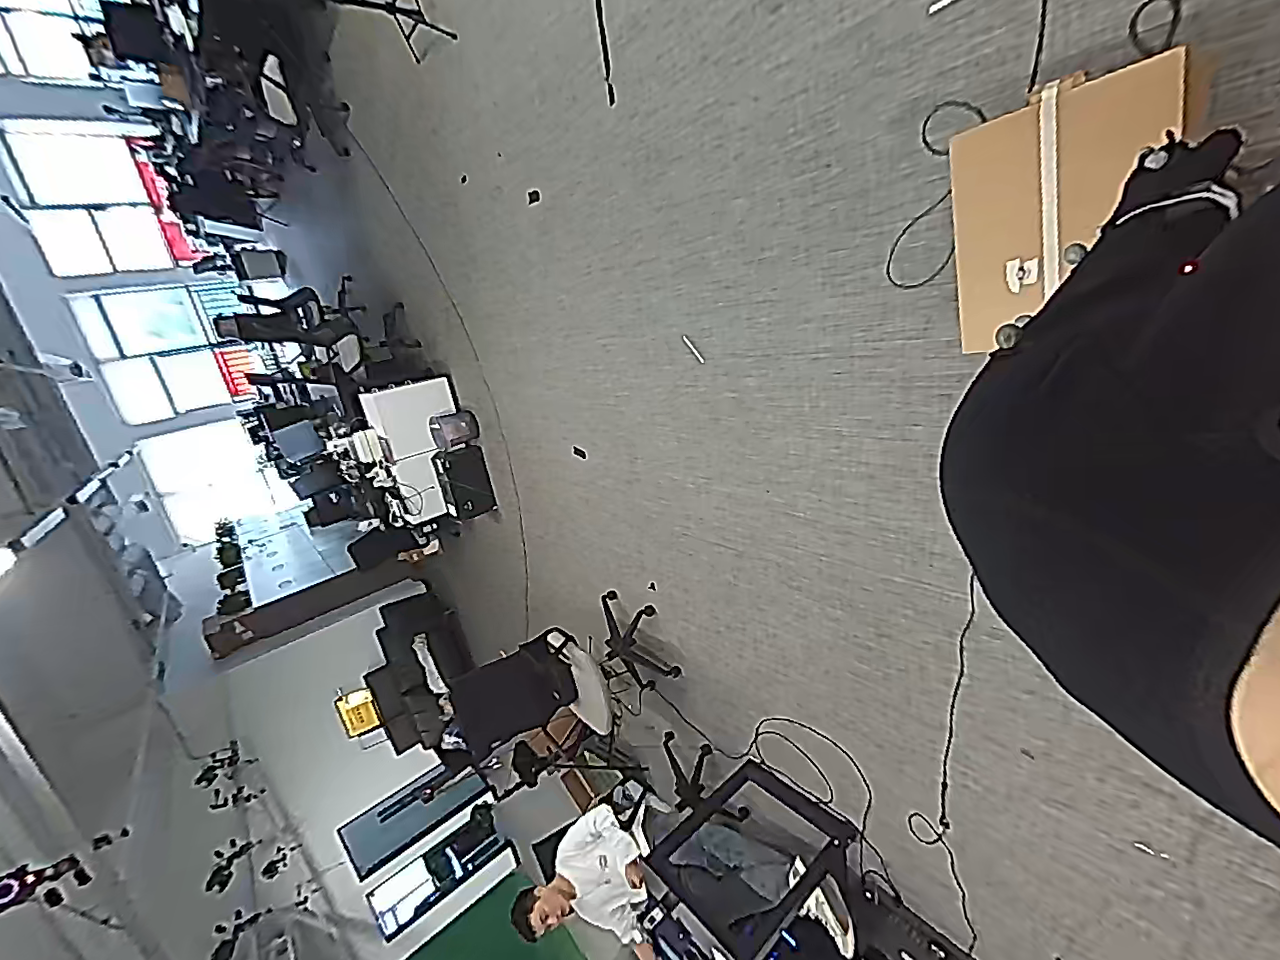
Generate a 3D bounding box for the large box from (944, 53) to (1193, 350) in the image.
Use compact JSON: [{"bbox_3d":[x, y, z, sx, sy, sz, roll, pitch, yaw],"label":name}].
[{"bbox_3d":[0.821,-0.497,1.032,0.320,0.320,0.408,6,116,50],"label":"large box"}]
